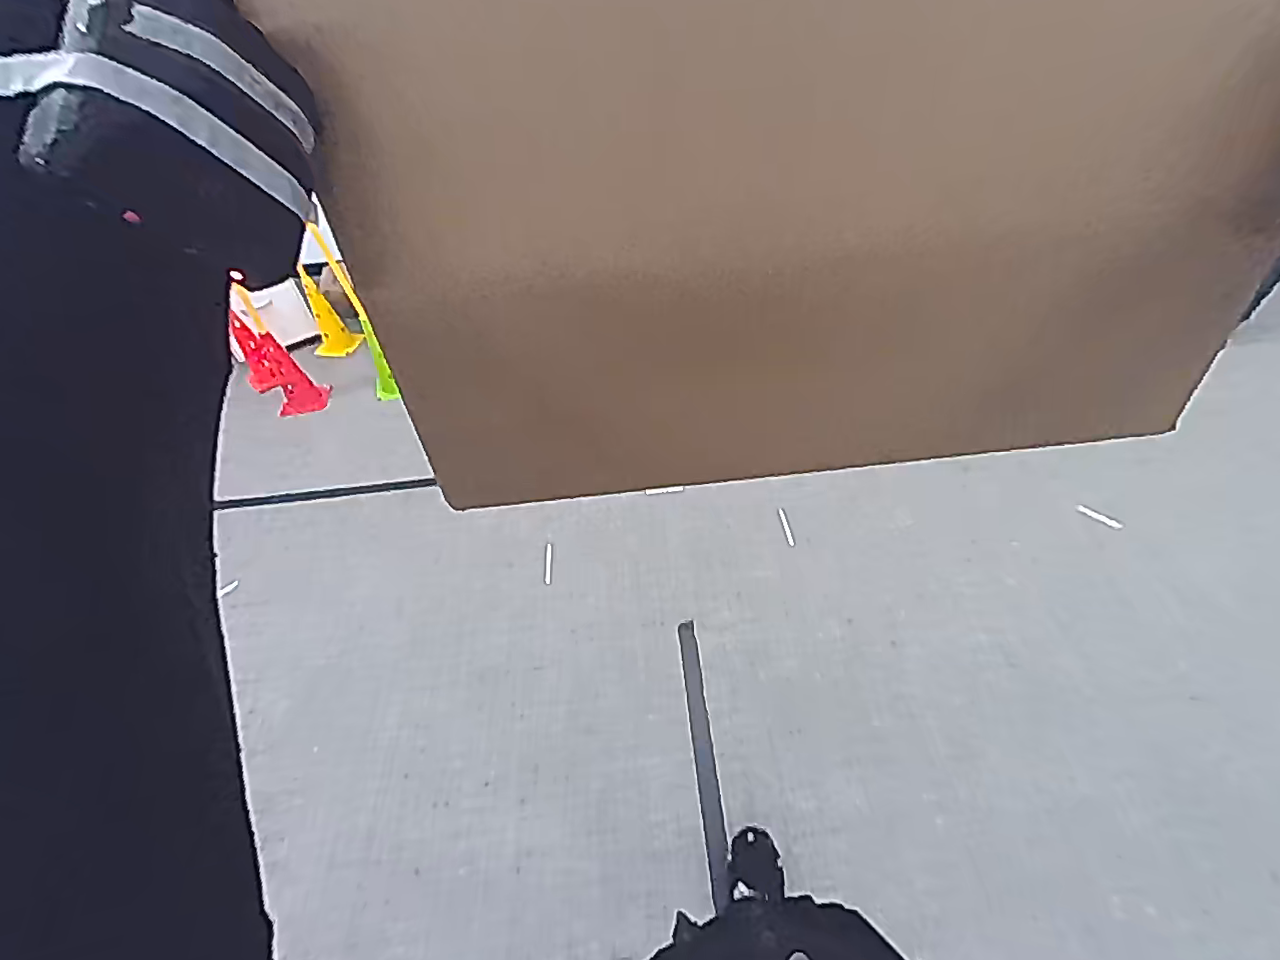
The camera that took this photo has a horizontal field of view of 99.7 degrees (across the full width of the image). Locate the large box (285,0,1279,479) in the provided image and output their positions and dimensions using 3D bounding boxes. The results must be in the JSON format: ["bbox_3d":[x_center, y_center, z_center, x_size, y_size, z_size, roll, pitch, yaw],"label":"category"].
[{"bbox_3d":[0.068,-0.226,0.334,0.408,0.320,0.320,-6,39,0],"label":"large box"}]
